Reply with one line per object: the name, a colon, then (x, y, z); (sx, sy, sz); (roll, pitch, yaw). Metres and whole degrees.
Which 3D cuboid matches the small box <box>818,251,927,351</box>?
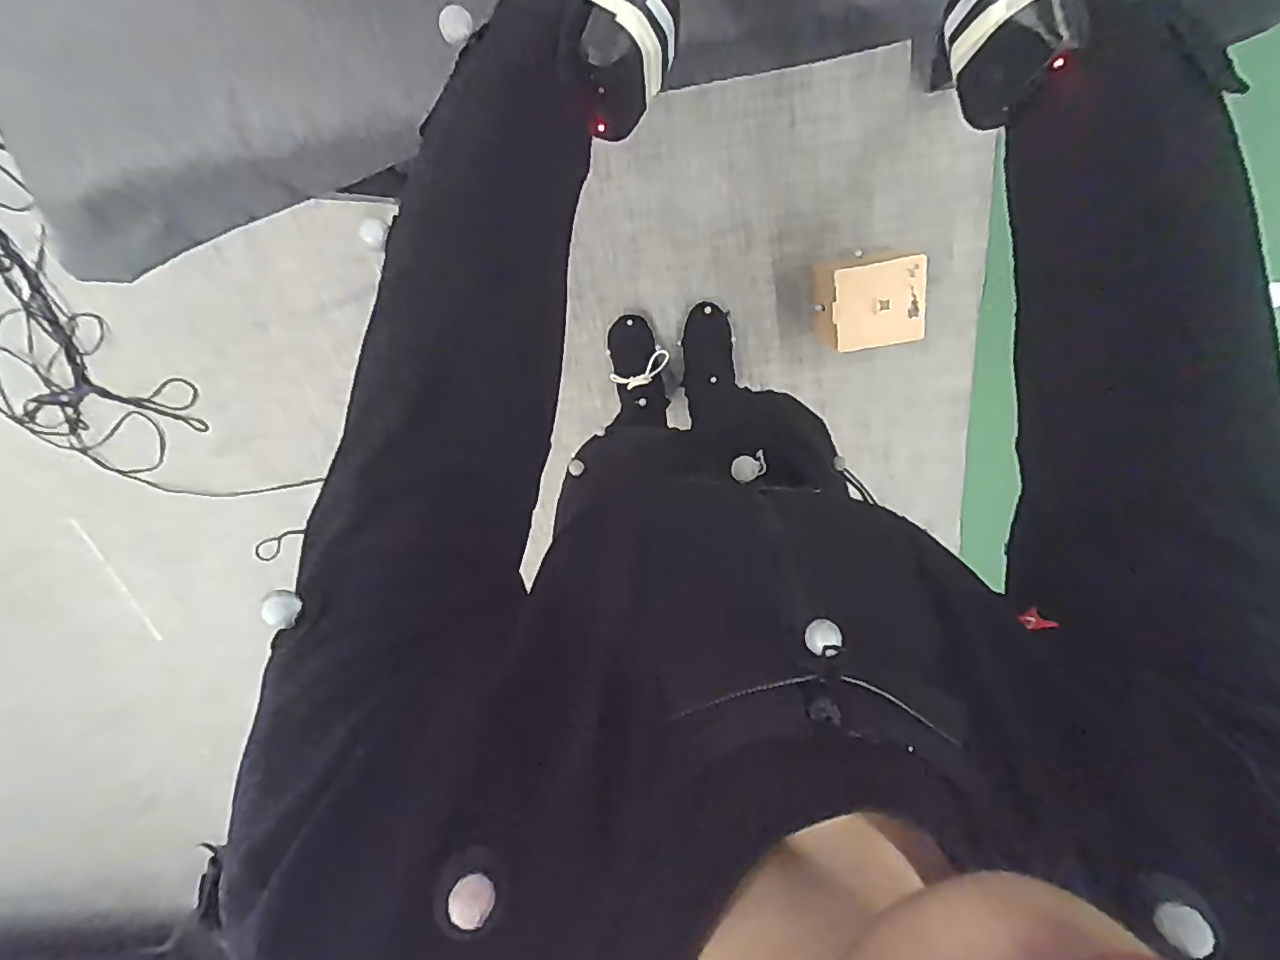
small box: (0.480, -0.379, 1.139); (0.179, 0.176, 0.168); (-8, 113, 8)
